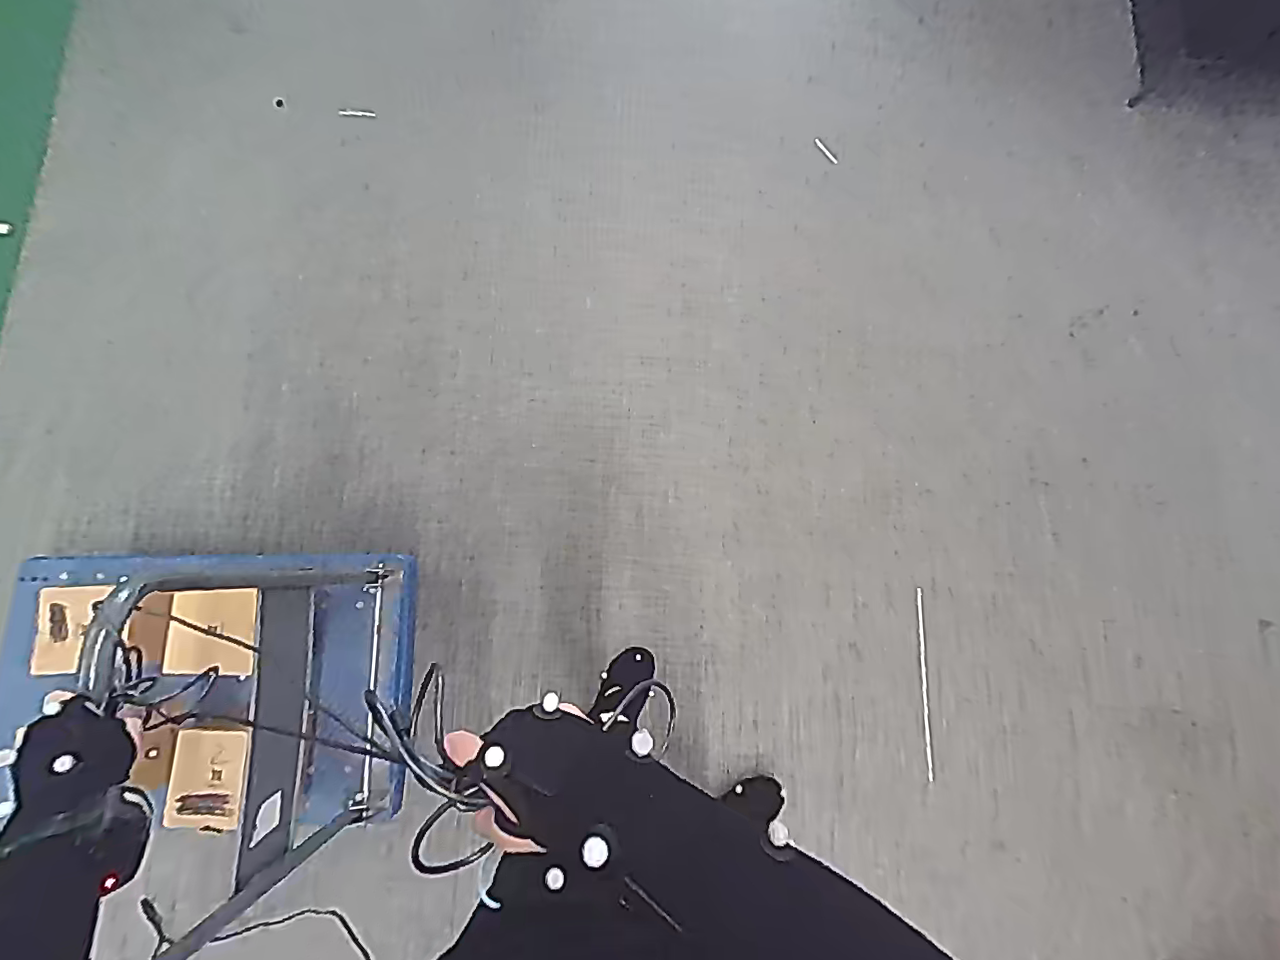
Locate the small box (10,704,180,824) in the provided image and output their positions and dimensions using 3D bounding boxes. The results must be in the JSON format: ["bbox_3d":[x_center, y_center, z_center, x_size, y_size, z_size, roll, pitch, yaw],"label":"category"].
[{"bbox_3d":[-1.081,0.561,1.089,0.179,0.176,0.168,-3,80,-3],"label":"small box"}]

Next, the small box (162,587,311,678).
[{"bbox_3d":[-0.837,0.314,1.138,0.179,0.176,0.168,2,81,-2],"label":"small box"}]

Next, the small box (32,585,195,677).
[{"bbox_3d":[-1.083,0.308,1.128,0.179,0.176,0.168,-2,82,-3],"label":"small box"}]
